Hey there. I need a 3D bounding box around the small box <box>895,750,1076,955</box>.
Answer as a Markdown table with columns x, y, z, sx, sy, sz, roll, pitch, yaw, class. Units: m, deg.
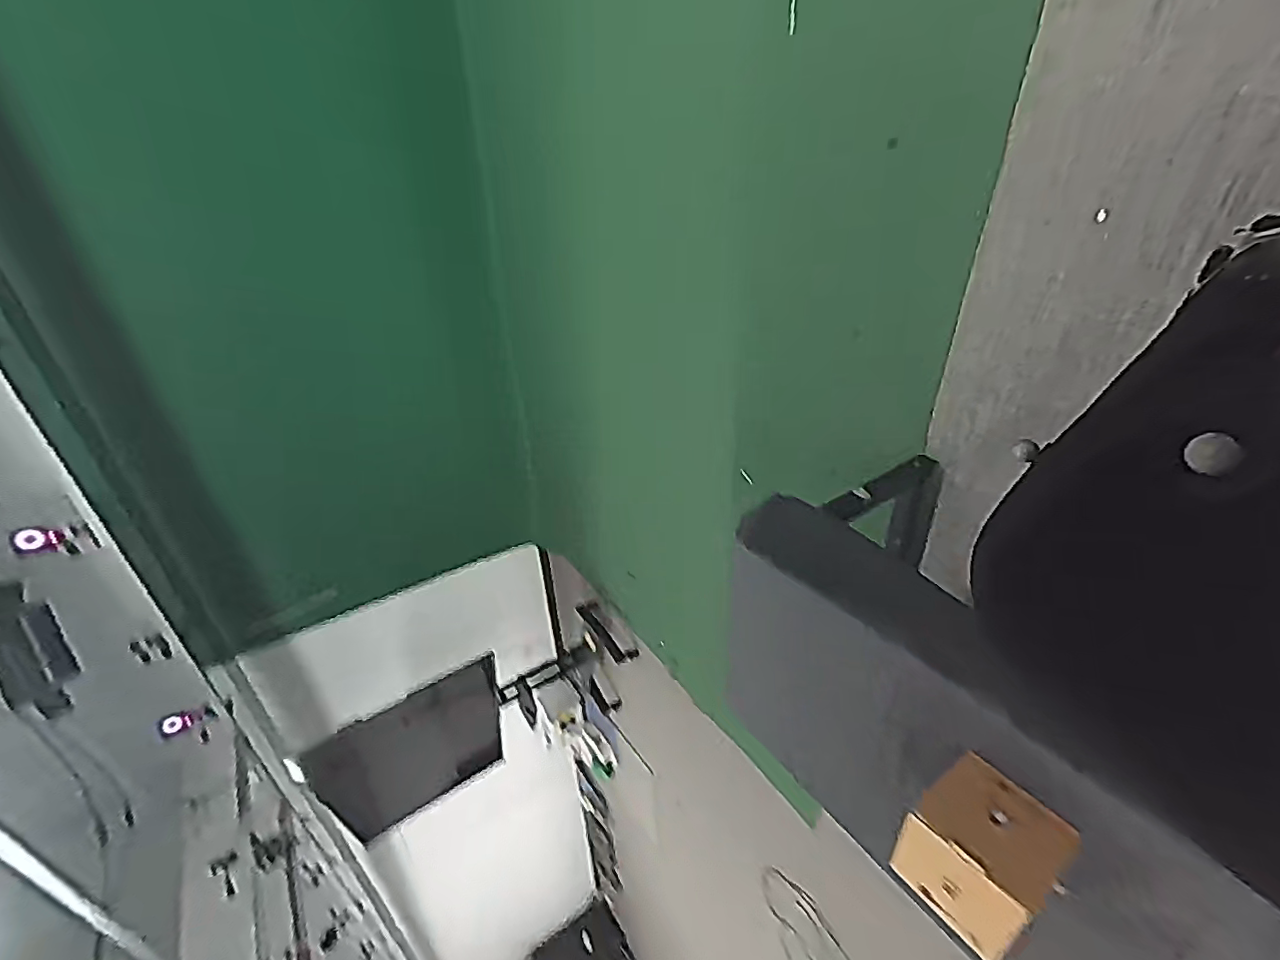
| x | y | z | sx | sy | sz | roll | pitch | yaw | class |
| --- | --- | --- | --- | --- | --- | --- | --- | --- | --- |
| 0.539 | 0.570 | 0.850 | 0.168 | 0.176 | 0.179 | 35 | 137 | 47 | small box |
